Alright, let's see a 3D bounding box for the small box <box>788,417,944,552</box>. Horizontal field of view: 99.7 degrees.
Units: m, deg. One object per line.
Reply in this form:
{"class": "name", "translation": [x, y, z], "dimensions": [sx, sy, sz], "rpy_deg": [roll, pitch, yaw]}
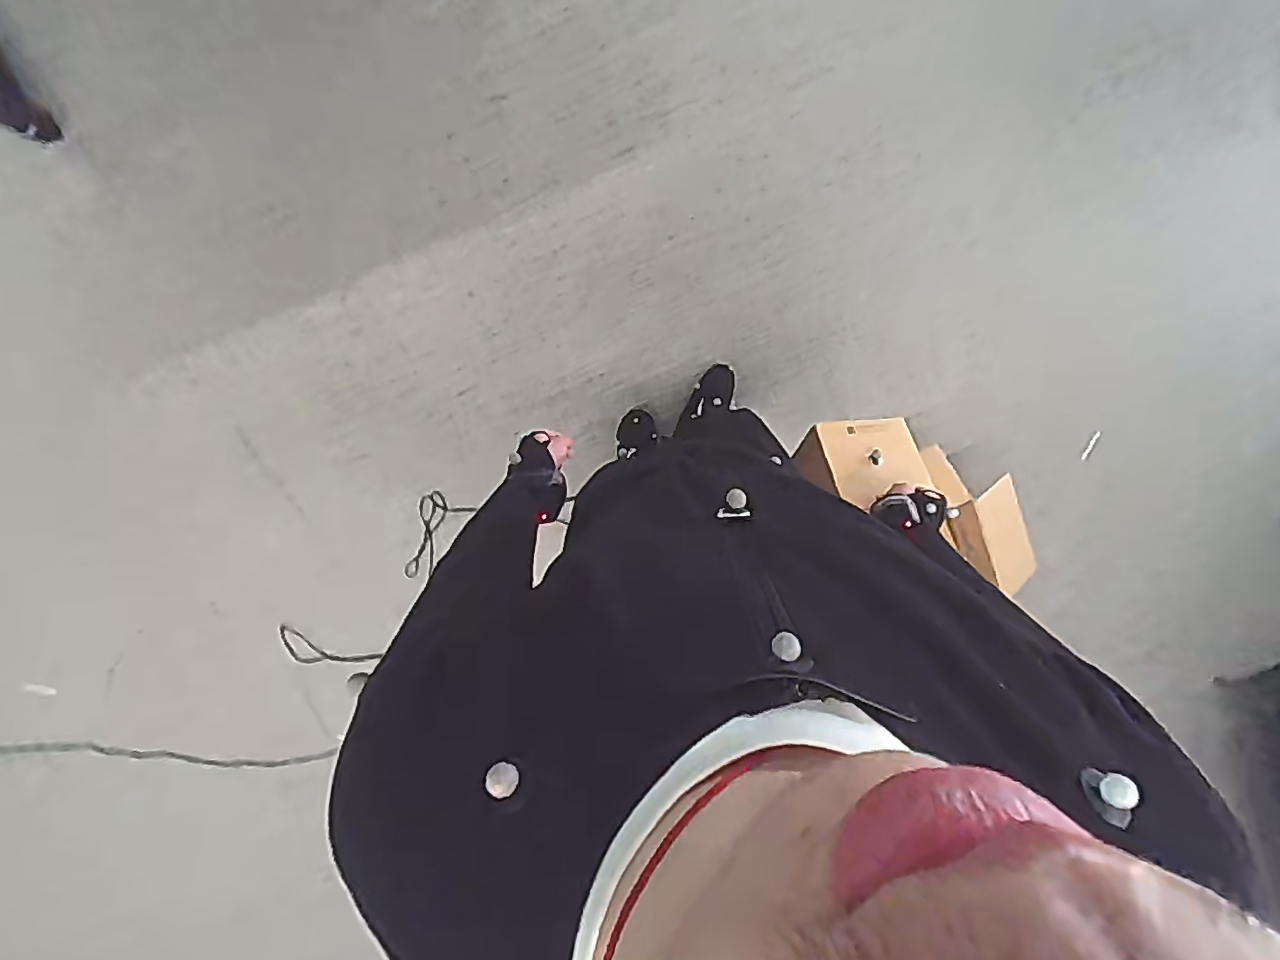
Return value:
{"class": "small box", "translation": [0.376, 0.003, 0.939], "dimensions": [0.168, 0.179, 0.176], "rpy_deg": [-8, 60, -8]}
